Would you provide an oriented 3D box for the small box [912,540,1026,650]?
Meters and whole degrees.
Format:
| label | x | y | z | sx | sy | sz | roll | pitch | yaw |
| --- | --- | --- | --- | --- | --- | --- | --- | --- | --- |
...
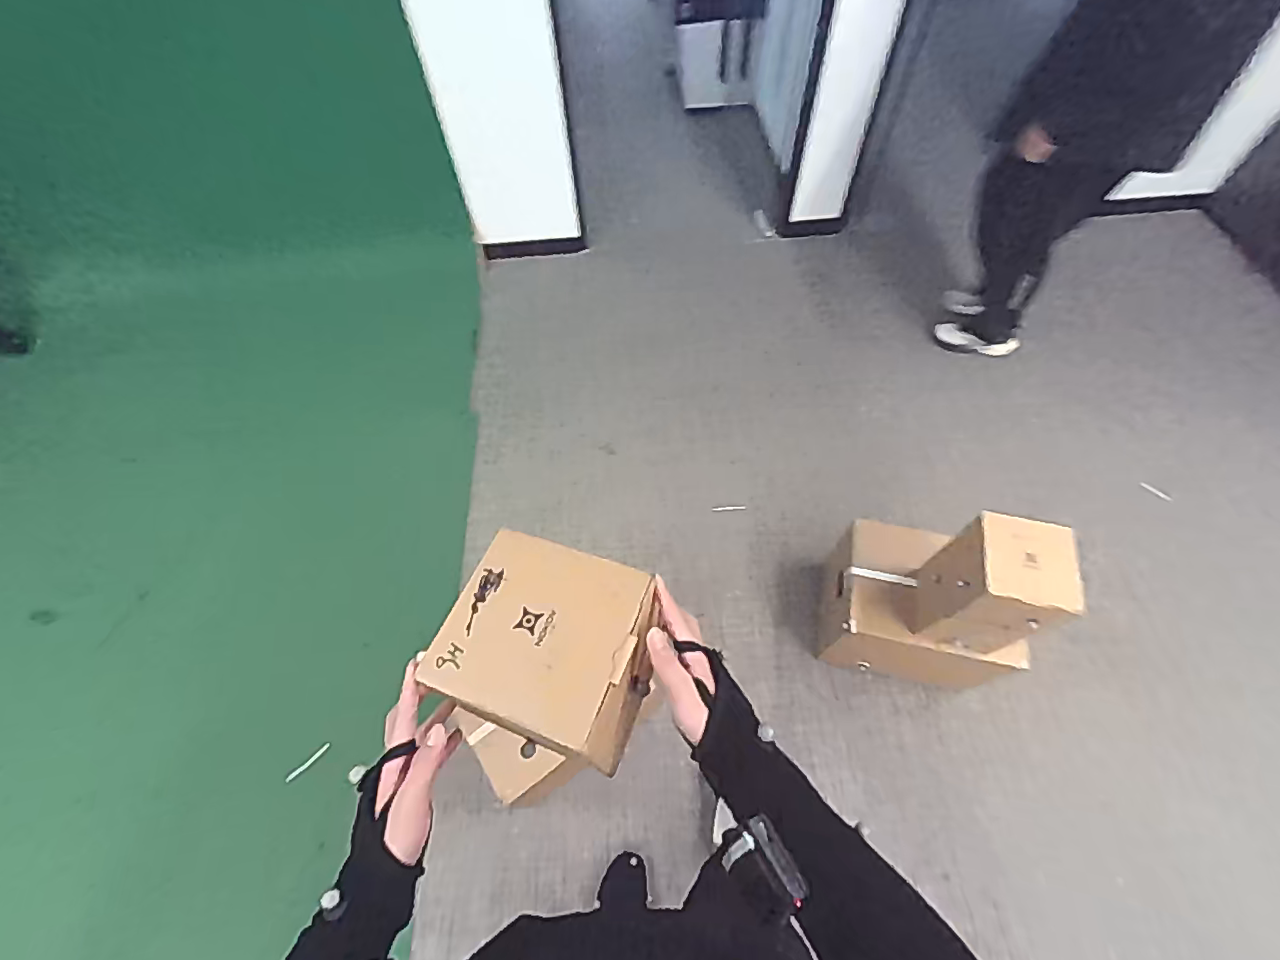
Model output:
| label | x | y | z | sx | sy | sz | roll | pitch | yaw |
| --- | --- | --- | --- | --- | --- | --- | --- | --- | --- |
| small box | 0.734 | 0.263 | 1.221 | 0.168 | 0.176 | 0.179 | 13 | 62 | 10 |

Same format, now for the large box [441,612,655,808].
| label | x | y | z | sx | sy | sz | roll | pitch | yaw |
| --- | --- | --- | --- | --- | --- | --- | --- | --- | --- |
| large box | -0.207 | 0.547 | 1.366 | 0.408 | 0.320 | 0.320 | -34 | 62 | -16 |

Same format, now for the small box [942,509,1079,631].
| label | x | y | z | sx | sy | sz | roll | pitch | yaw |
| --- | --- | --- | --- | --- | --- | --- | --- | --- | --- |
| small box | 0.724 | 0.185 | 1.078 | 0.168 | 0.176 | 0.179 | 12 | 60 | 8 |
